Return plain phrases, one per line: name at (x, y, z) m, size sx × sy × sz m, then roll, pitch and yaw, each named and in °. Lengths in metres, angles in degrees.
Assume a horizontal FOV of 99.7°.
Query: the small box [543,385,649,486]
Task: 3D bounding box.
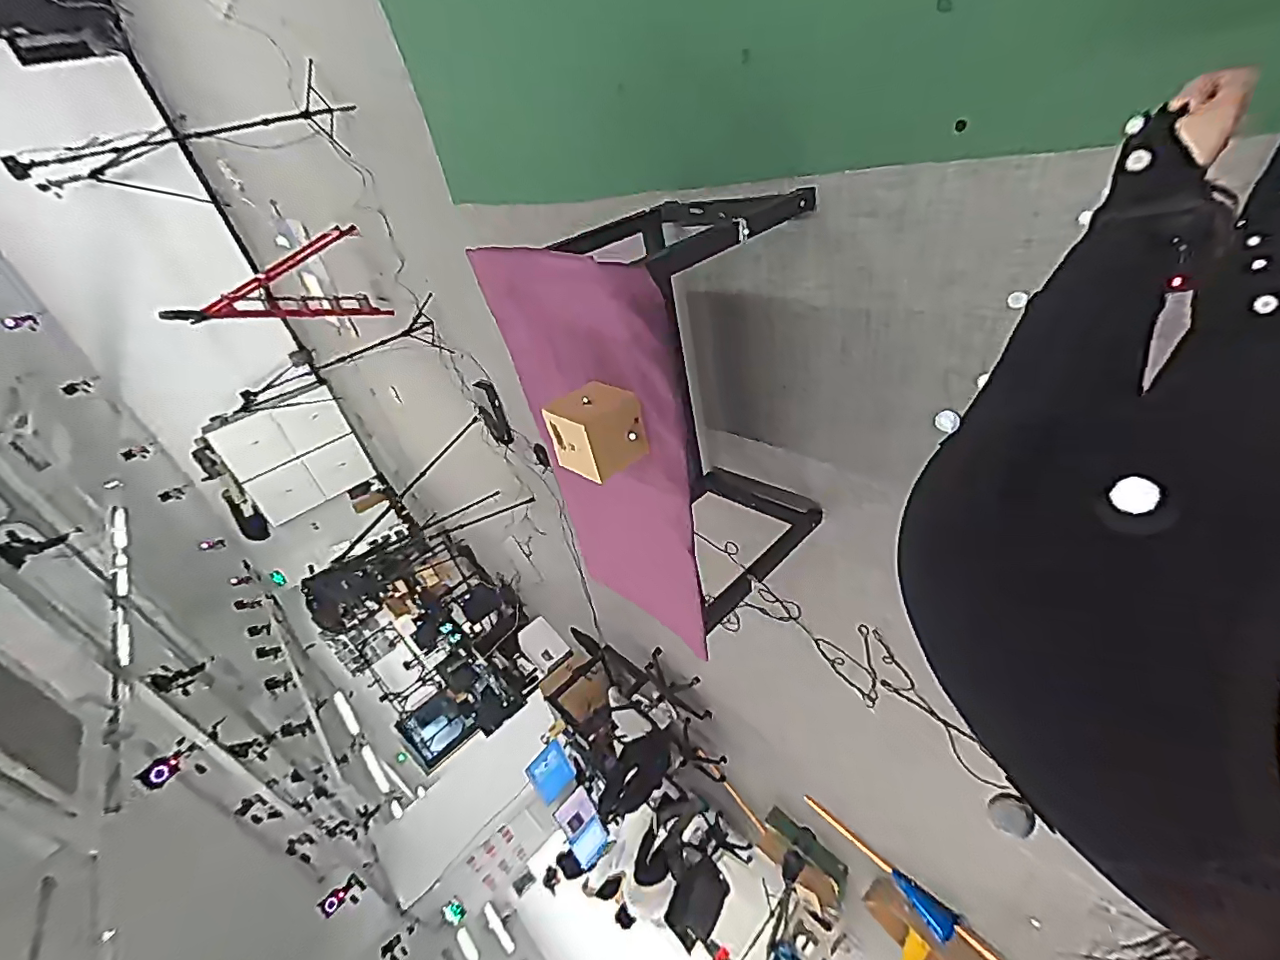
small box at (-0.105, -0.117, 1.321) m, size 0.179 × 0.176 × 0.168 m, roll 24°, pitch 139°, yaw 43°
